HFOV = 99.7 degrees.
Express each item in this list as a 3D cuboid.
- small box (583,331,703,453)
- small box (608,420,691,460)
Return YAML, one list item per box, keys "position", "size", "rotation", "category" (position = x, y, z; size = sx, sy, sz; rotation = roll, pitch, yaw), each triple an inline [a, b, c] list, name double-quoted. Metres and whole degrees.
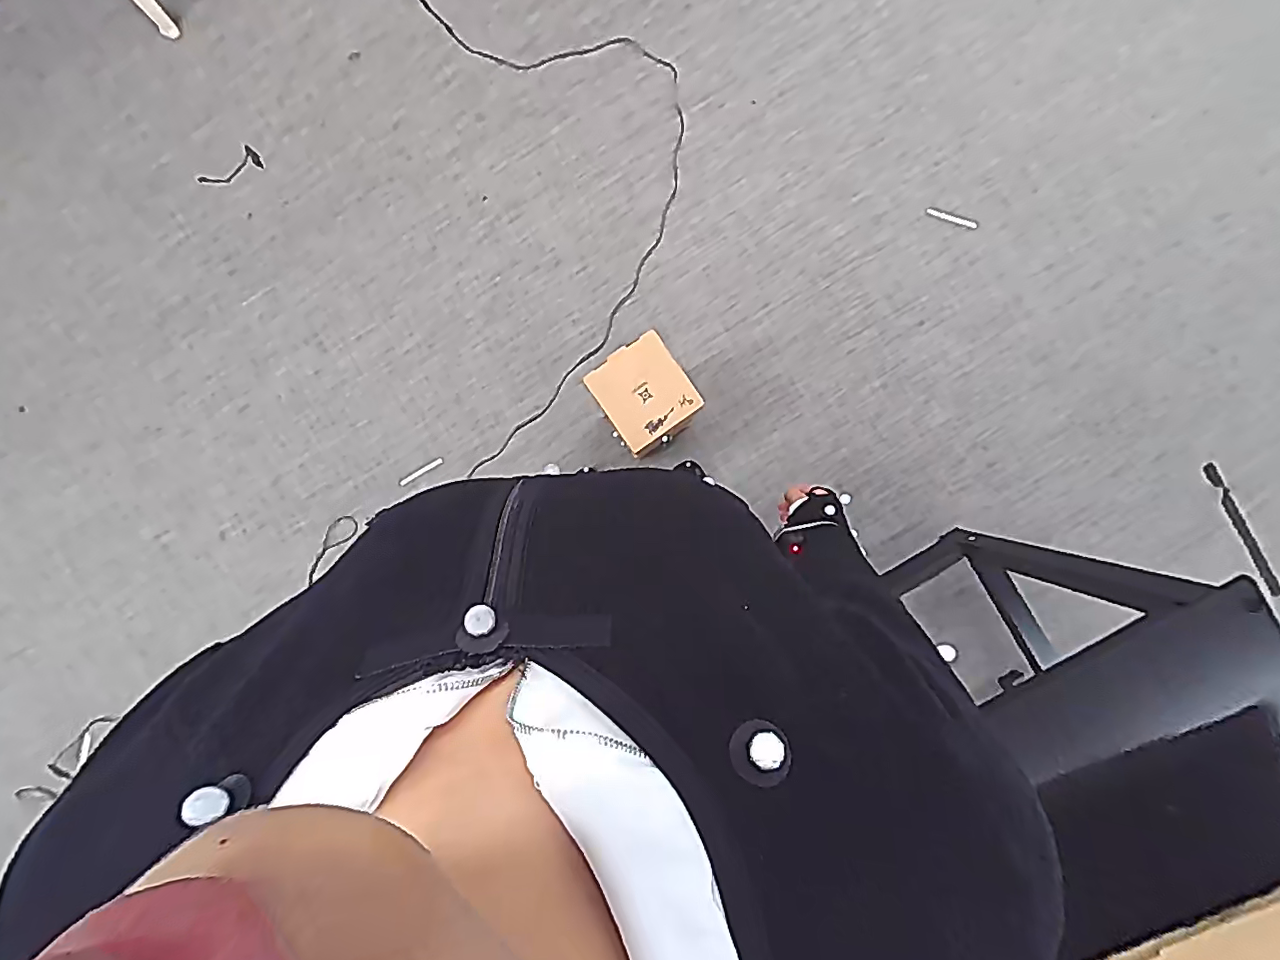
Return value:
- position: [0.006, -0.166, 1.090]
  size: [0.168, 0.176, 0.179]
  rotation: [-35, 90, 2]
  category: "small box"
- position: [0.014, -0.167, 1.416]
  size: [0.179, 0.176, 0.168]
  rotation: [-34, 90, 3]
  category: "small box"
